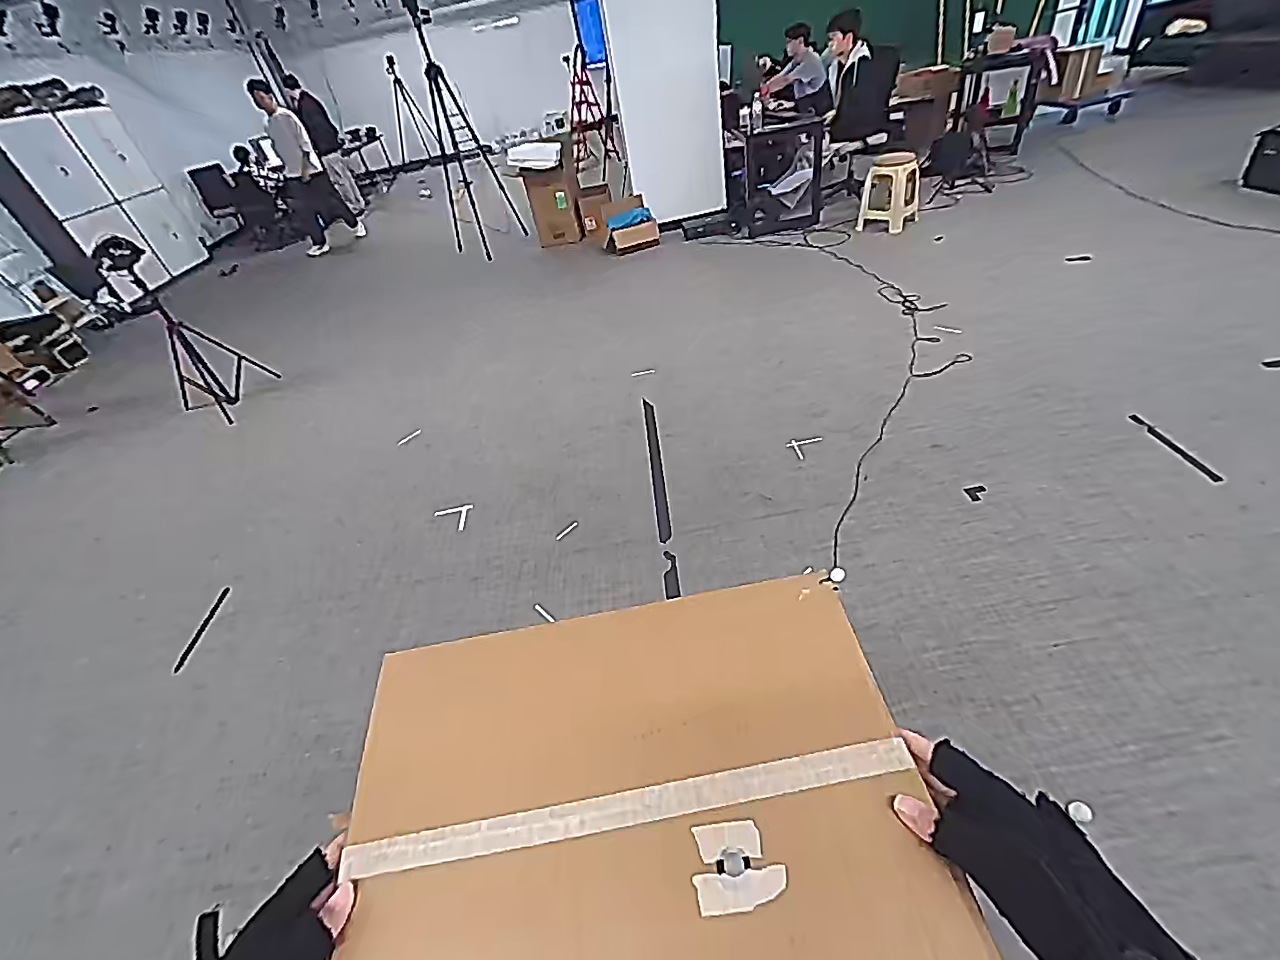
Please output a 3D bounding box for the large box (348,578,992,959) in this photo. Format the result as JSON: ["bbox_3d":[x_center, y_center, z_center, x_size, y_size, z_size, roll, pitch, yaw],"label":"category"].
[{"bbox_3d":[0.011,0.337,0.504,0.408,0.320,0.320,-10,48,-1],"label":"large box"}]
